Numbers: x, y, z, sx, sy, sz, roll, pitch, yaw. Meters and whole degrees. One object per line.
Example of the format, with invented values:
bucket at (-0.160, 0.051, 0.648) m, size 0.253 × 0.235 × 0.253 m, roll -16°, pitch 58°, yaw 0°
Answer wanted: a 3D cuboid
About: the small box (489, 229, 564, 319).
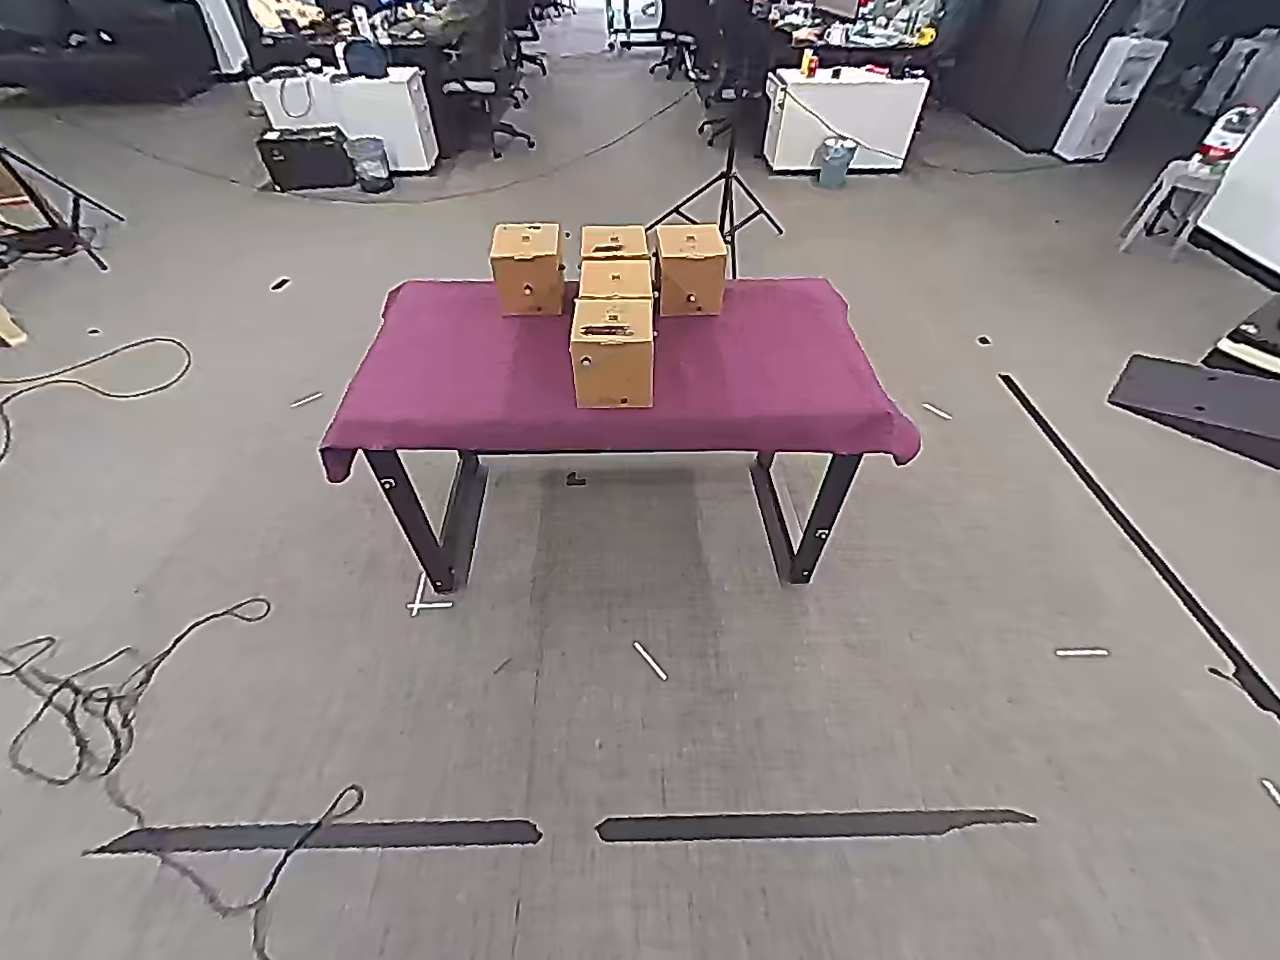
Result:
small box at (-0.293, -0.544, 1.436) m, size 0.168 × 0.176 × 0.179 m, roll -2°, pitch 50°, yaw -3°
